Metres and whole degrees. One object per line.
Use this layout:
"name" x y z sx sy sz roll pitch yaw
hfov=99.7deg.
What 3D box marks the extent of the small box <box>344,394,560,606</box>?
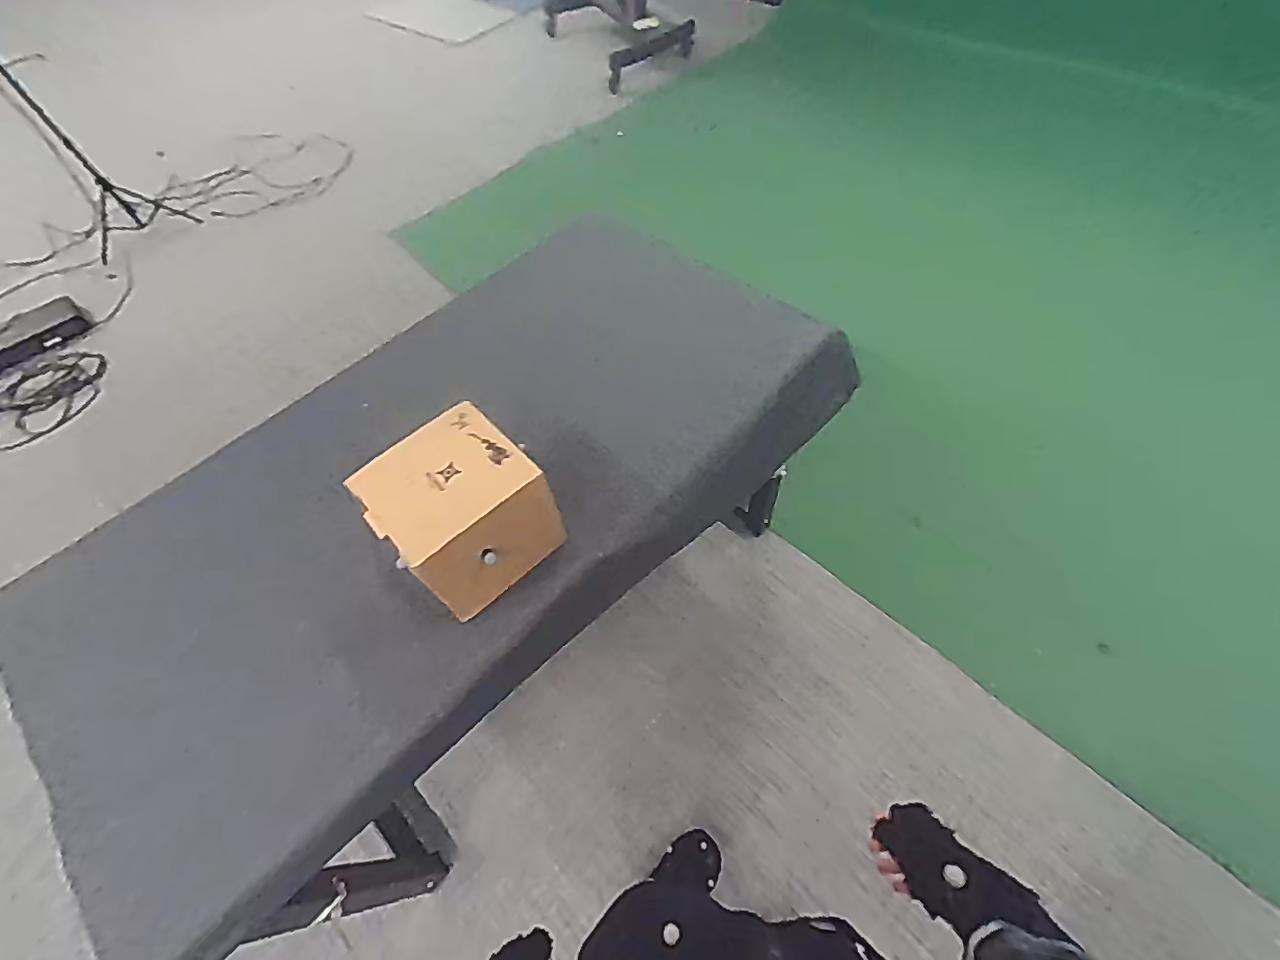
"small box" -0.227 0.032 0.694 0.179 0.176 0.168 -40 63 -18
